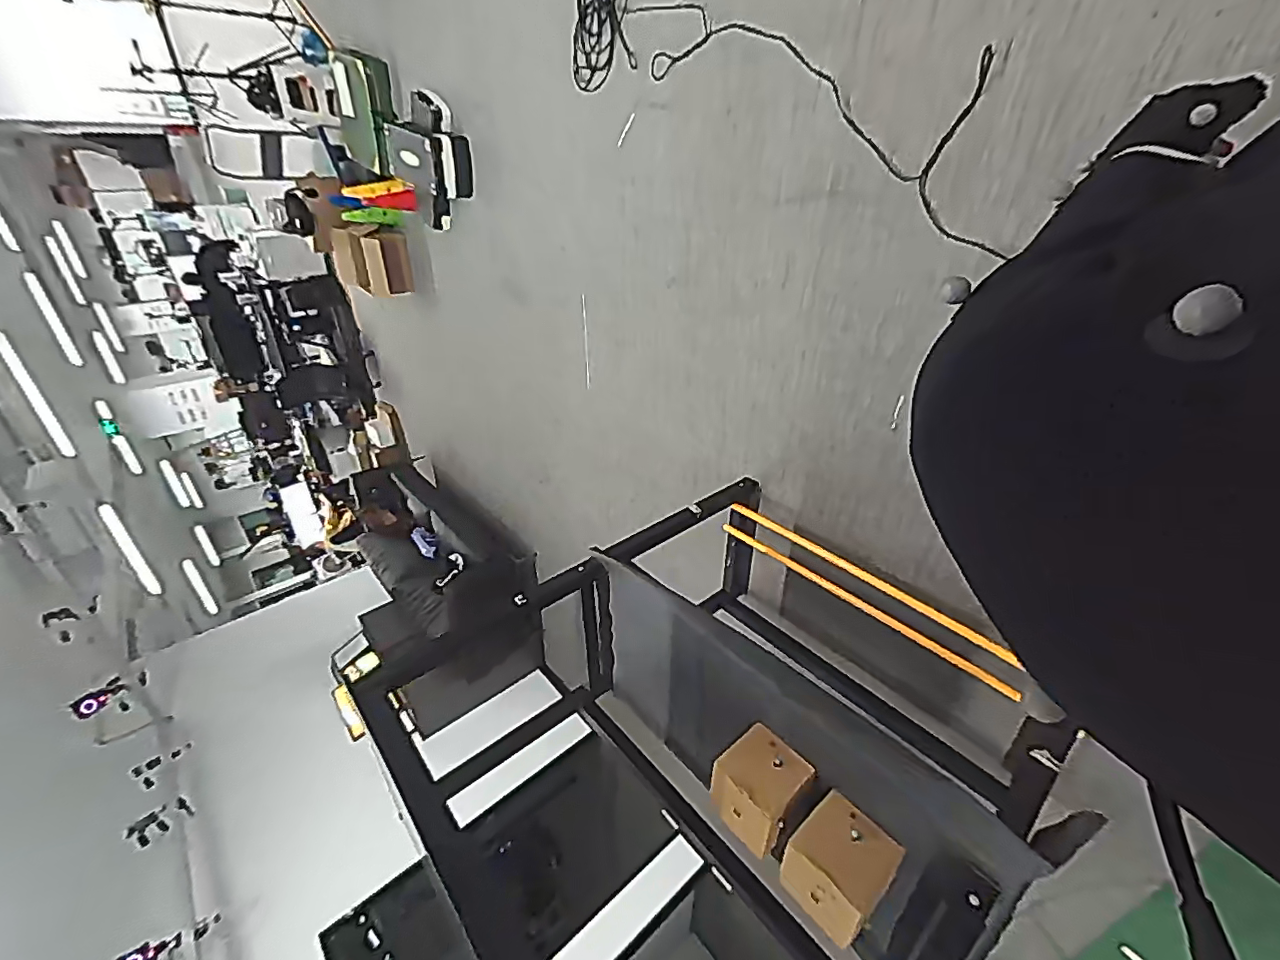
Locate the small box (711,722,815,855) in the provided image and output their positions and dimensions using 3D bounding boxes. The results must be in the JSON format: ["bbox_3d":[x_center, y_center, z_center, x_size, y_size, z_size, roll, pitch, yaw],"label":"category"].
[{"bbox_3d":[0.287,0.715,1.267,0.168,0.176,0.179,31,133,41],"label":"small box"}]

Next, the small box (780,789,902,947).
[{"bbox_3d":[0.419,0.803,1.133,0.168,0.176,0.179,30,132,41],"label":"small box"}]
